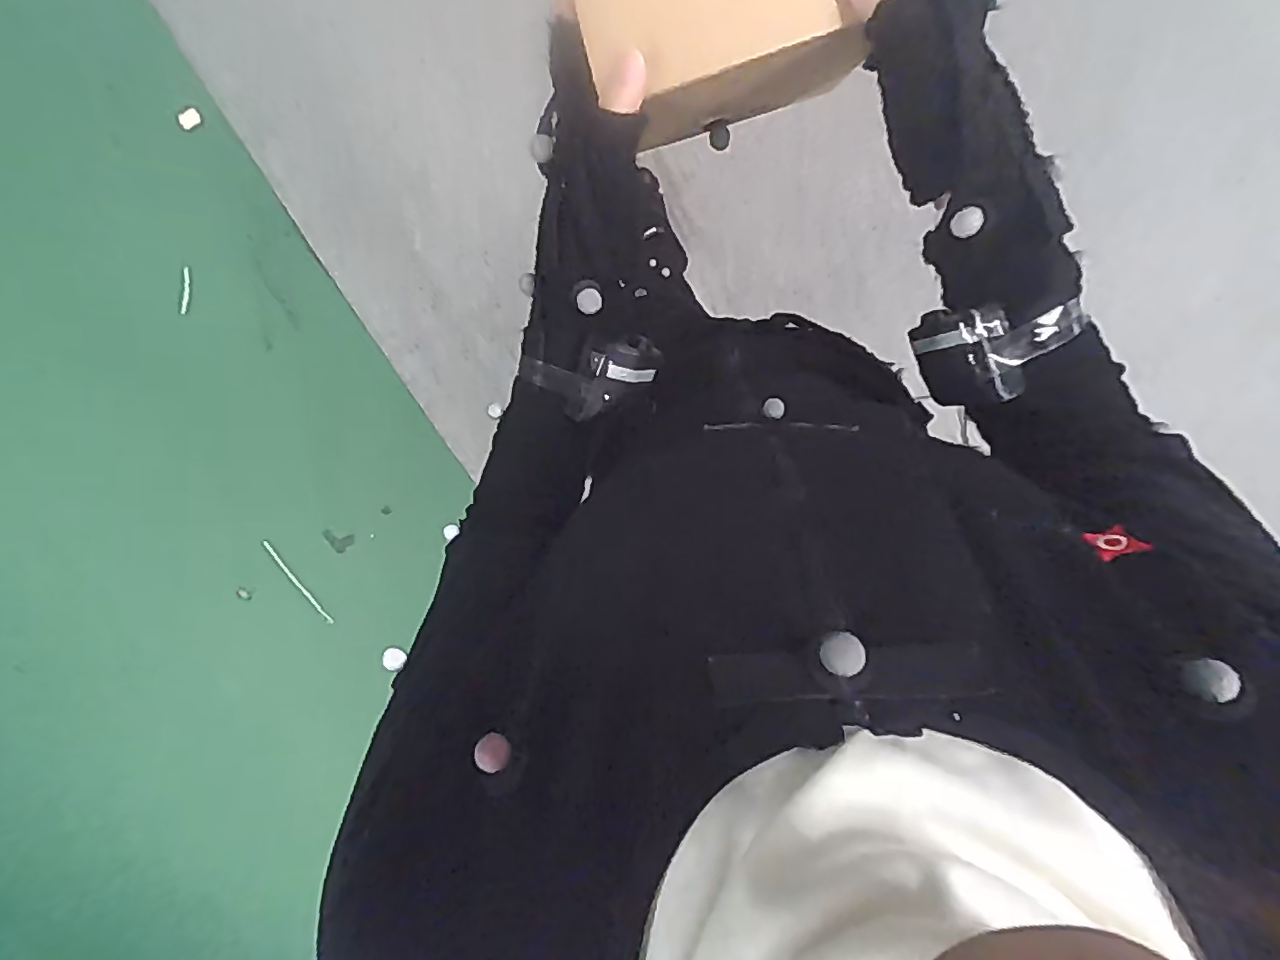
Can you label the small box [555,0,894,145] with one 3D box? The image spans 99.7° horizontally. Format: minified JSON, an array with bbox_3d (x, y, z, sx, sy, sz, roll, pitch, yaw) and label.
[{"bbox_3d":[0.030,-0.325,0.313,0.168,0.176,0.179,-12,113,9],"label":"small box"}]
